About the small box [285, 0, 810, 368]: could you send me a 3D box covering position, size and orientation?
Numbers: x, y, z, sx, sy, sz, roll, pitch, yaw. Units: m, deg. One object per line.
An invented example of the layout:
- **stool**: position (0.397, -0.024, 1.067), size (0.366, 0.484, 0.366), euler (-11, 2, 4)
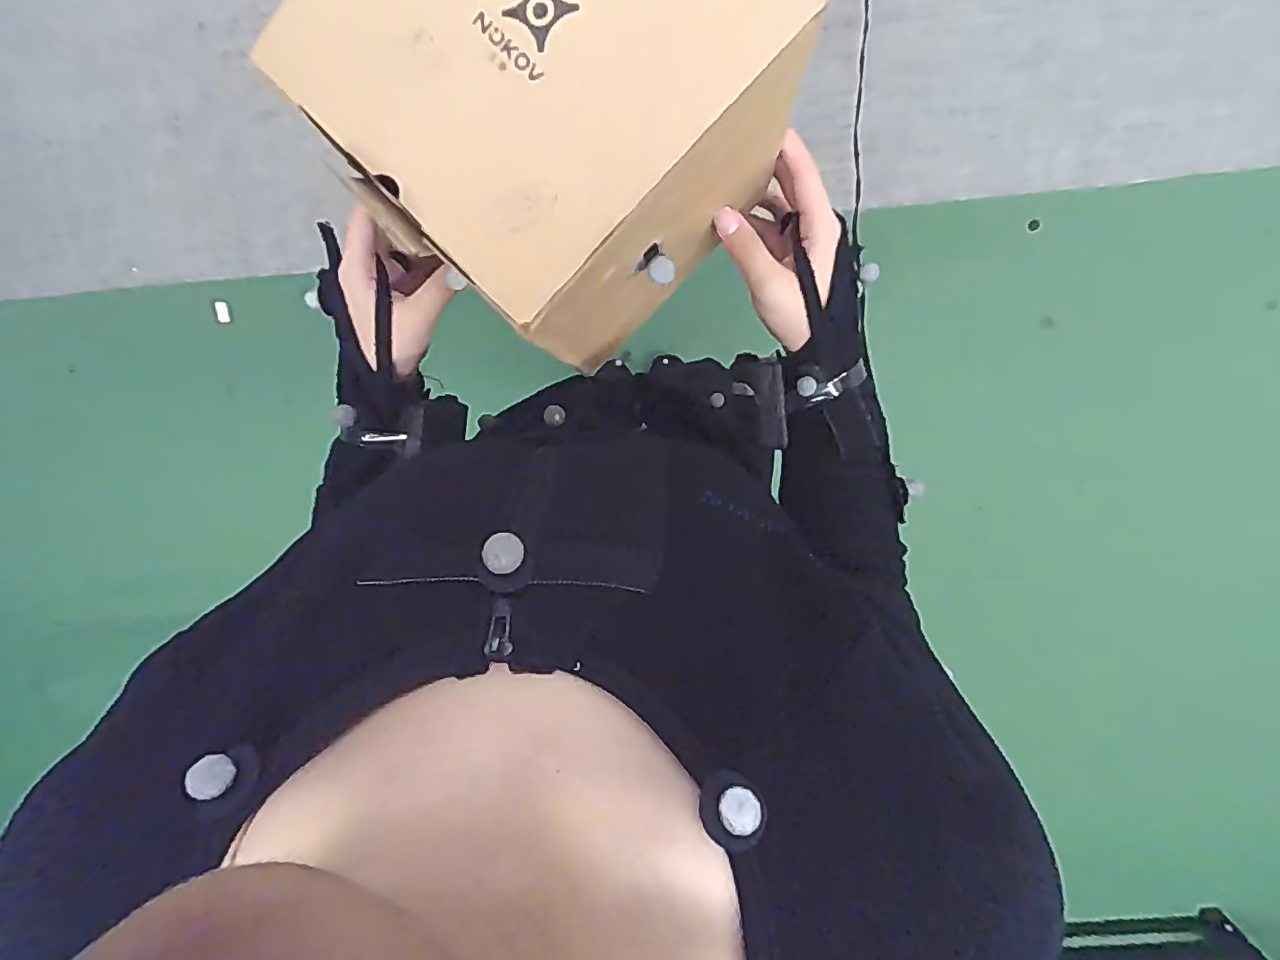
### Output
- **small box**: position (-0.036, -0.184, 0.310), size (0.168, 0.176, 0.179), euler (44, 97, 0)
